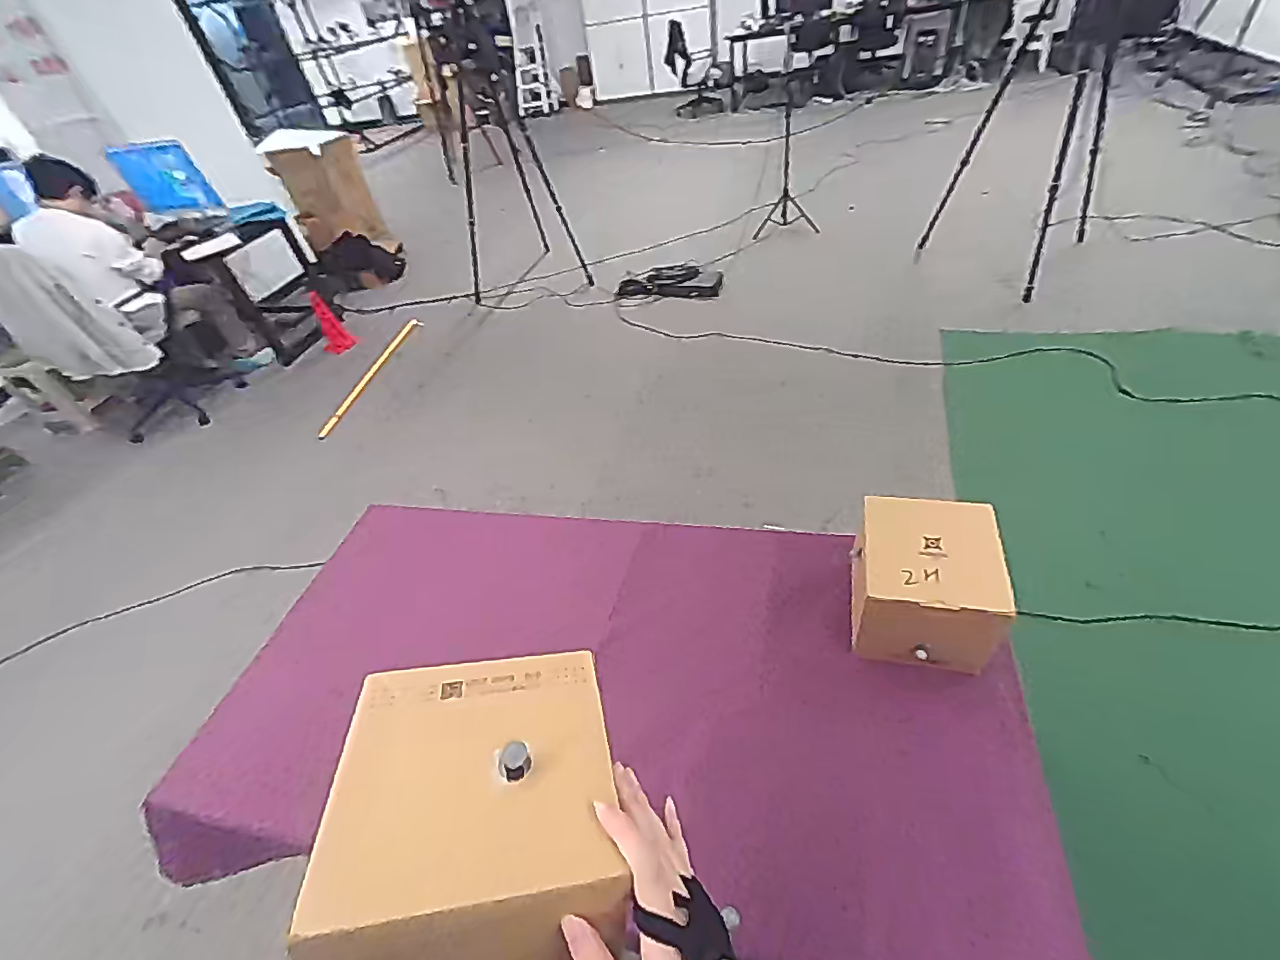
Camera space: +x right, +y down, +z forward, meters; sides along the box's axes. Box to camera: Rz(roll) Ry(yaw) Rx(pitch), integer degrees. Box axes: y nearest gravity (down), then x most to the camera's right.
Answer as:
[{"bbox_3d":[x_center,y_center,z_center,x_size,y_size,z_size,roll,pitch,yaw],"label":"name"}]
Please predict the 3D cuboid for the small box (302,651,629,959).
[{"bbox_3d":[-0.107,0.240,0.383,0.168,0.179,0.176,-2,28,-11],"label":"small box"}]

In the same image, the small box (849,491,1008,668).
[{"bbox_3d":[0.393,0.140,0.772,0.168,0.176,0.179,4,49,18],"label":"small box"}]
